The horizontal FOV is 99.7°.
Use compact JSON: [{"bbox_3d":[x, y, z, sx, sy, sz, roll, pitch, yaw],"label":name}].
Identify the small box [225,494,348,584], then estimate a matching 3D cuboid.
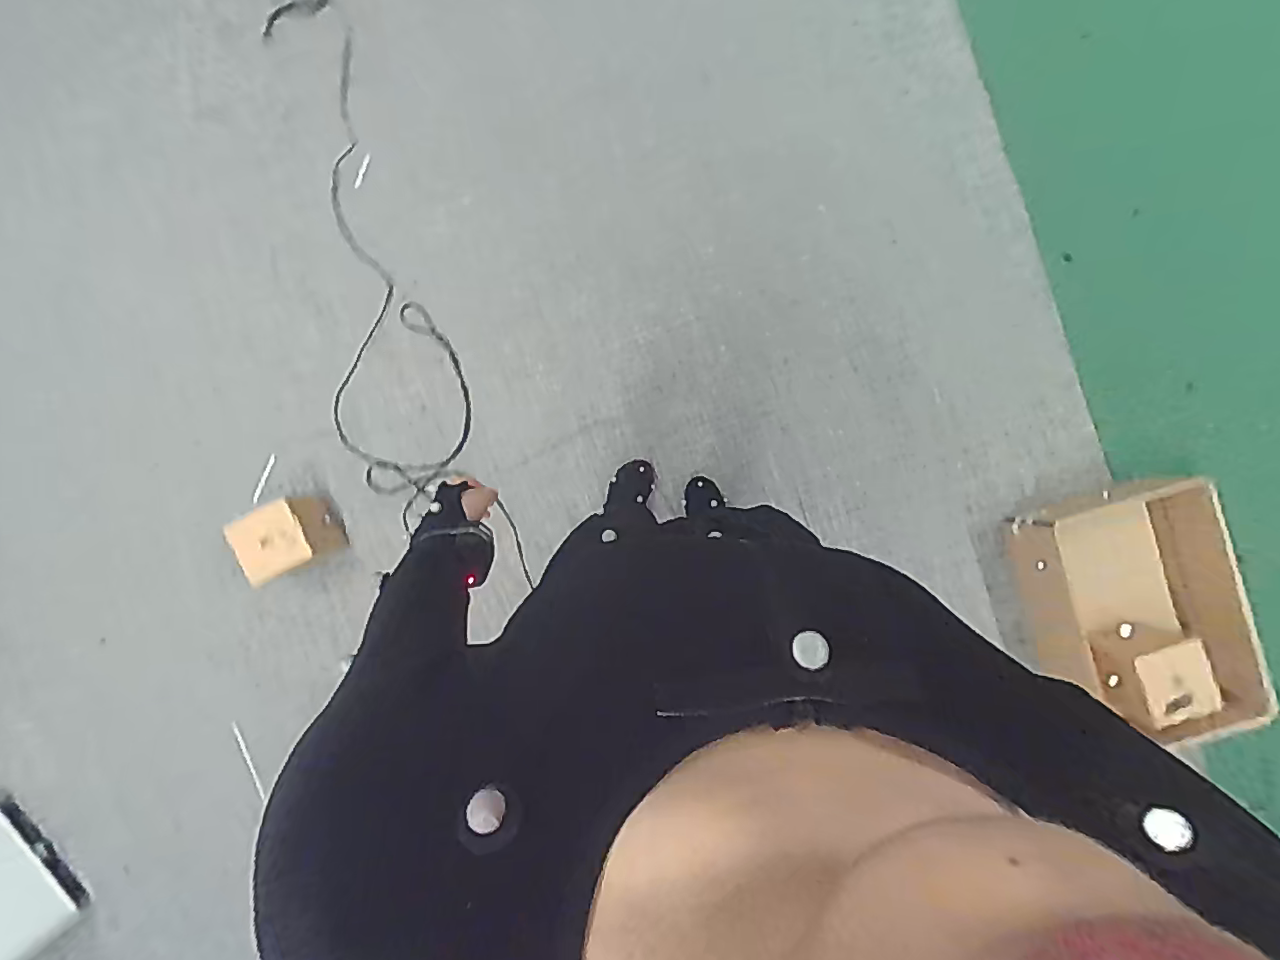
[{"bbox_3d":[-0.912,0.148,1.412,0.179,0.176,0.168,-27,91,1],"label":"small box"}]
